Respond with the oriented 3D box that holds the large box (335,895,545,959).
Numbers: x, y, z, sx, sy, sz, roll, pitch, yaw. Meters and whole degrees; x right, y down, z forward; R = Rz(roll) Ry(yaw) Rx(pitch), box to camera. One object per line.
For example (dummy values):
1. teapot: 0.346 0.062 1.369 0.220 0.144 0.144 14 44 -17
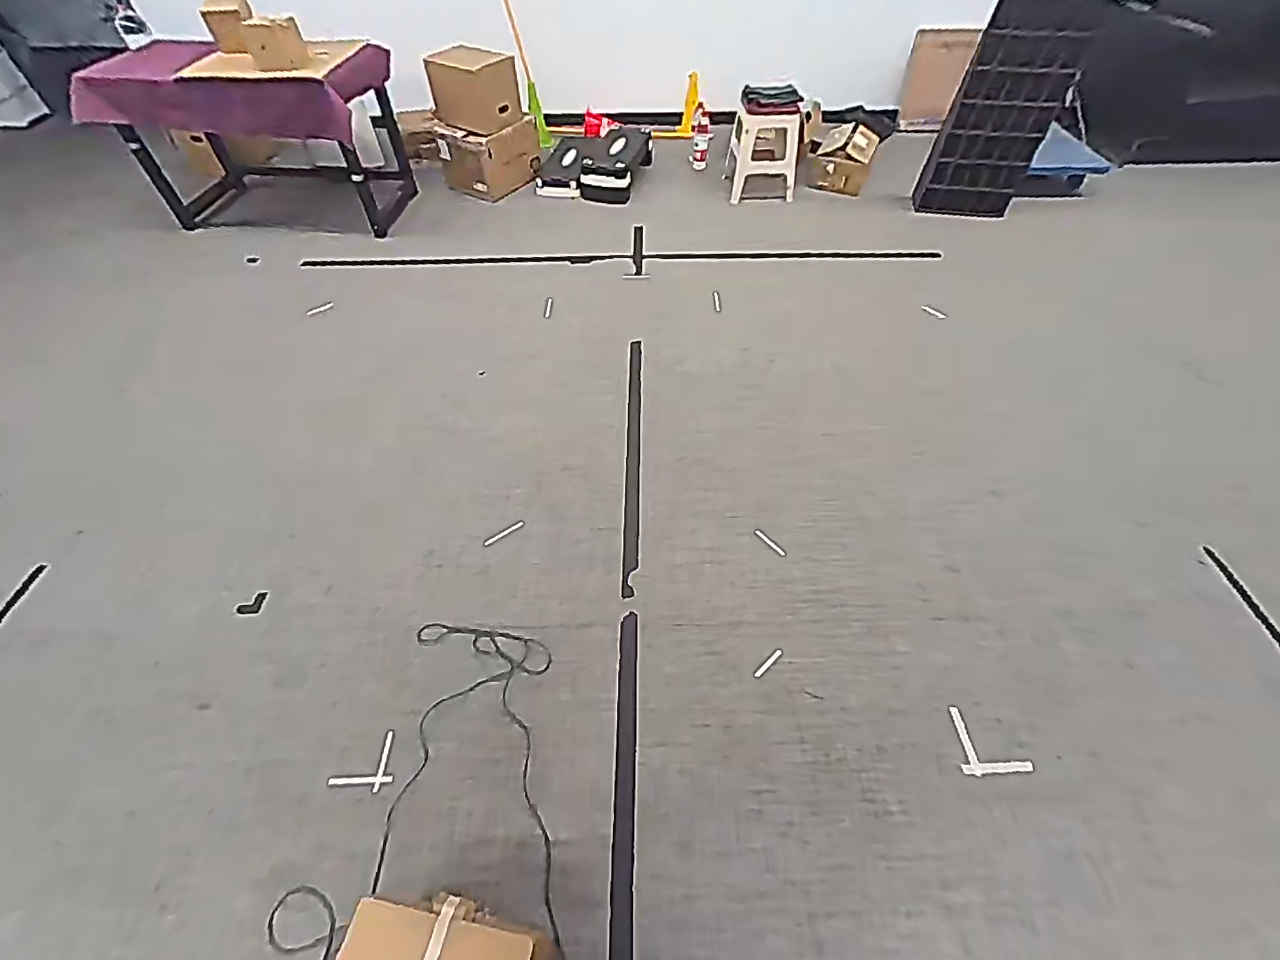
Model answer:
1. large box: -0.377 0.993 0.932 0.320 0.320 0.408 9 52 7
